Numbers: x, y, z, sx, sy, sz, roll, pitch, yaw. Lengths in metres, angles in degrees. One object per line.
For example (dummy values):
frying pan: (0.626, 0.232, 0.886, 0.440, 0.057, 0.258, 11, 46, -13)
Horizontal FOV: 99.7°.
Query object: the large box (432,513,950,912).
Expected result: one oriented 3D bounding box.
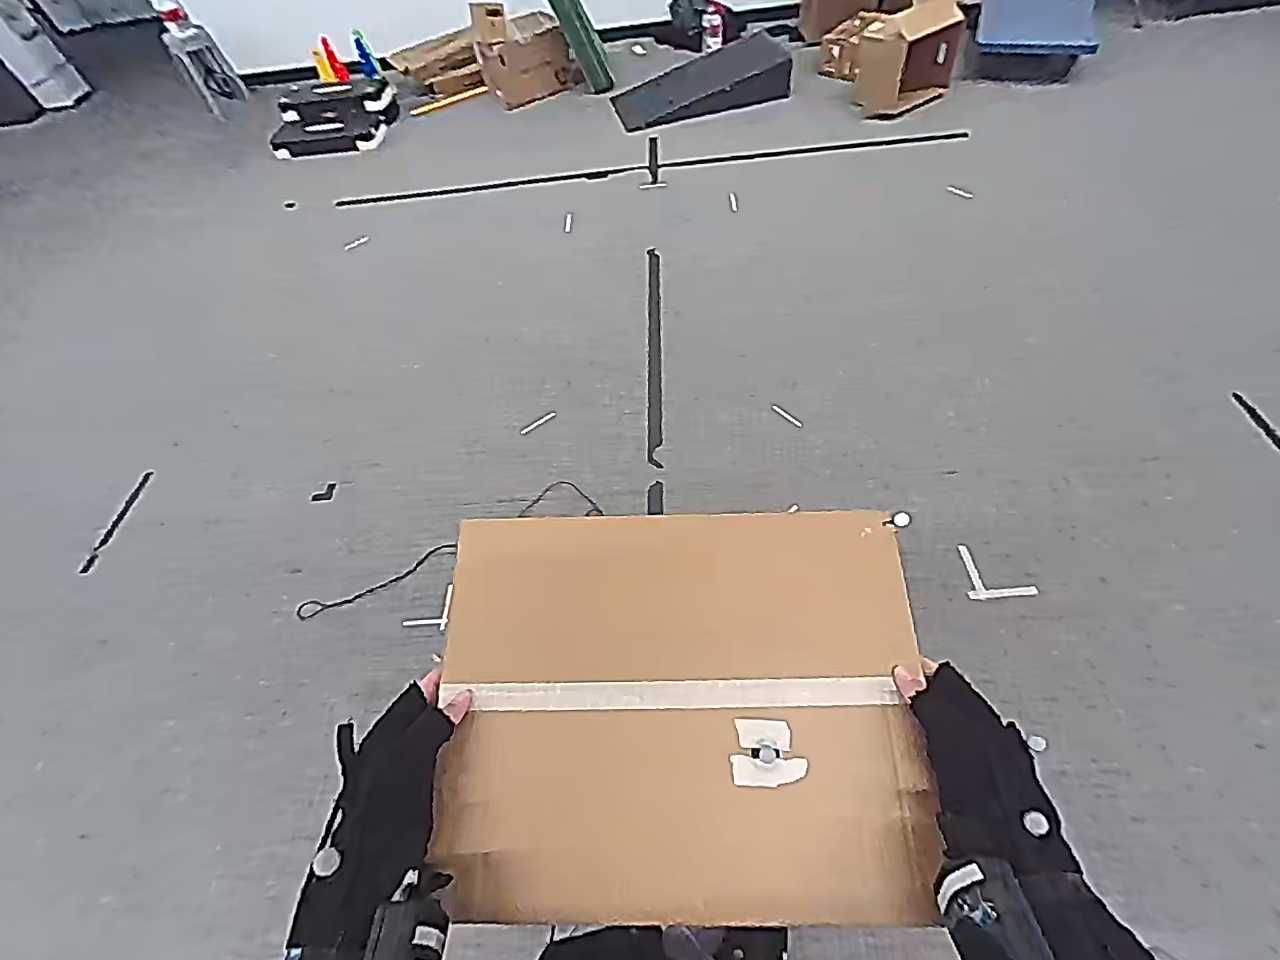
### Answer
large box: (0.036, 0.238, 0.603, 0.408, 0.320, 0.320, -1, 68, 1)
